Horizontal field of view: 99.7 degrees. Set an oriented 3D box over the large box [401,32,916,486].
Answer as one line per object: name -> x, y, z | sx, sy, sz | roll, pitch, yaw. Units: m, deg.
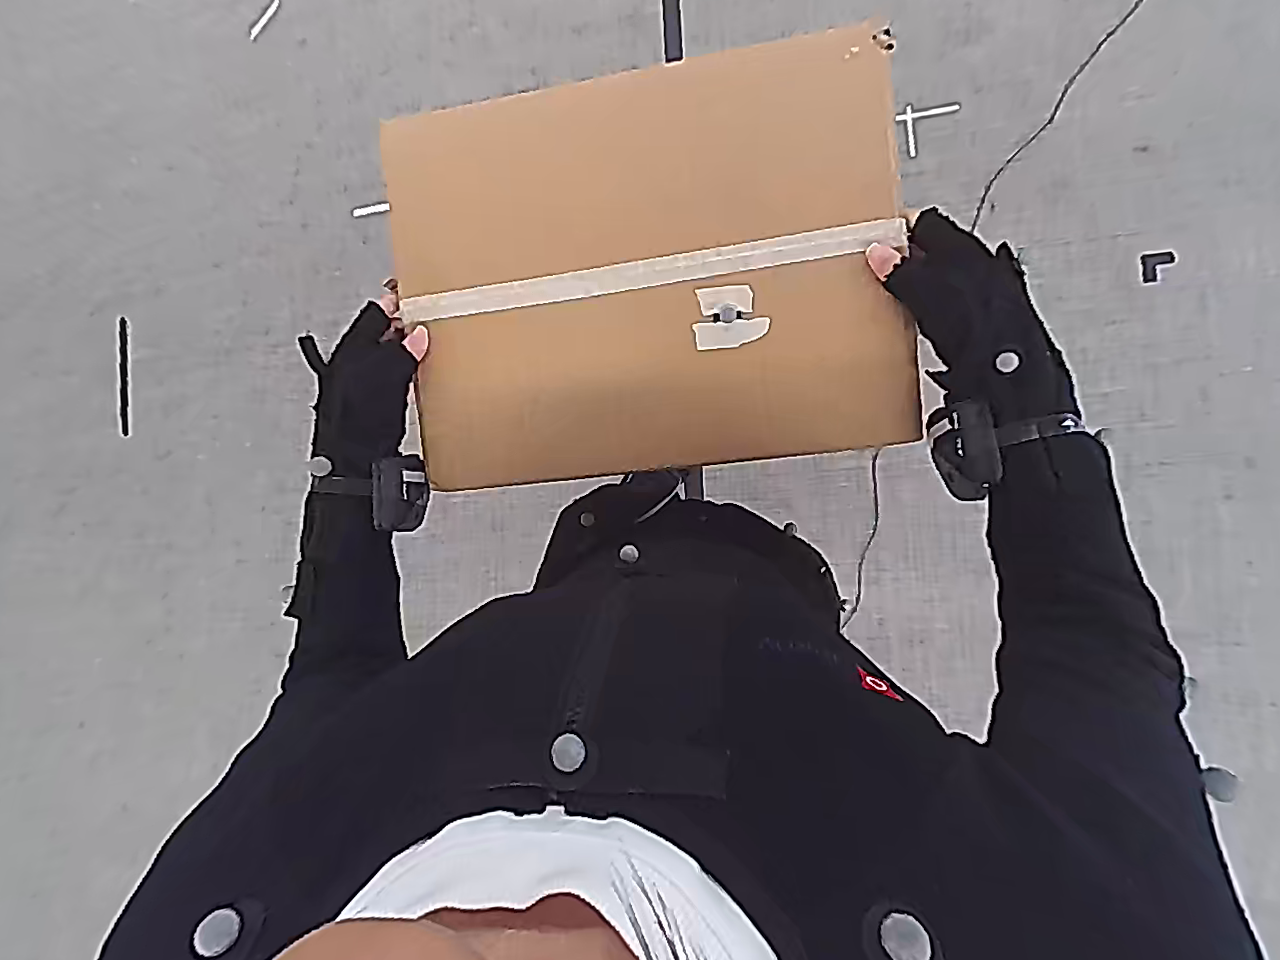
large box -> 0.022, -0.178, 0.594 | 0.408, 0.320, 0.320 | -7, 93, 7
